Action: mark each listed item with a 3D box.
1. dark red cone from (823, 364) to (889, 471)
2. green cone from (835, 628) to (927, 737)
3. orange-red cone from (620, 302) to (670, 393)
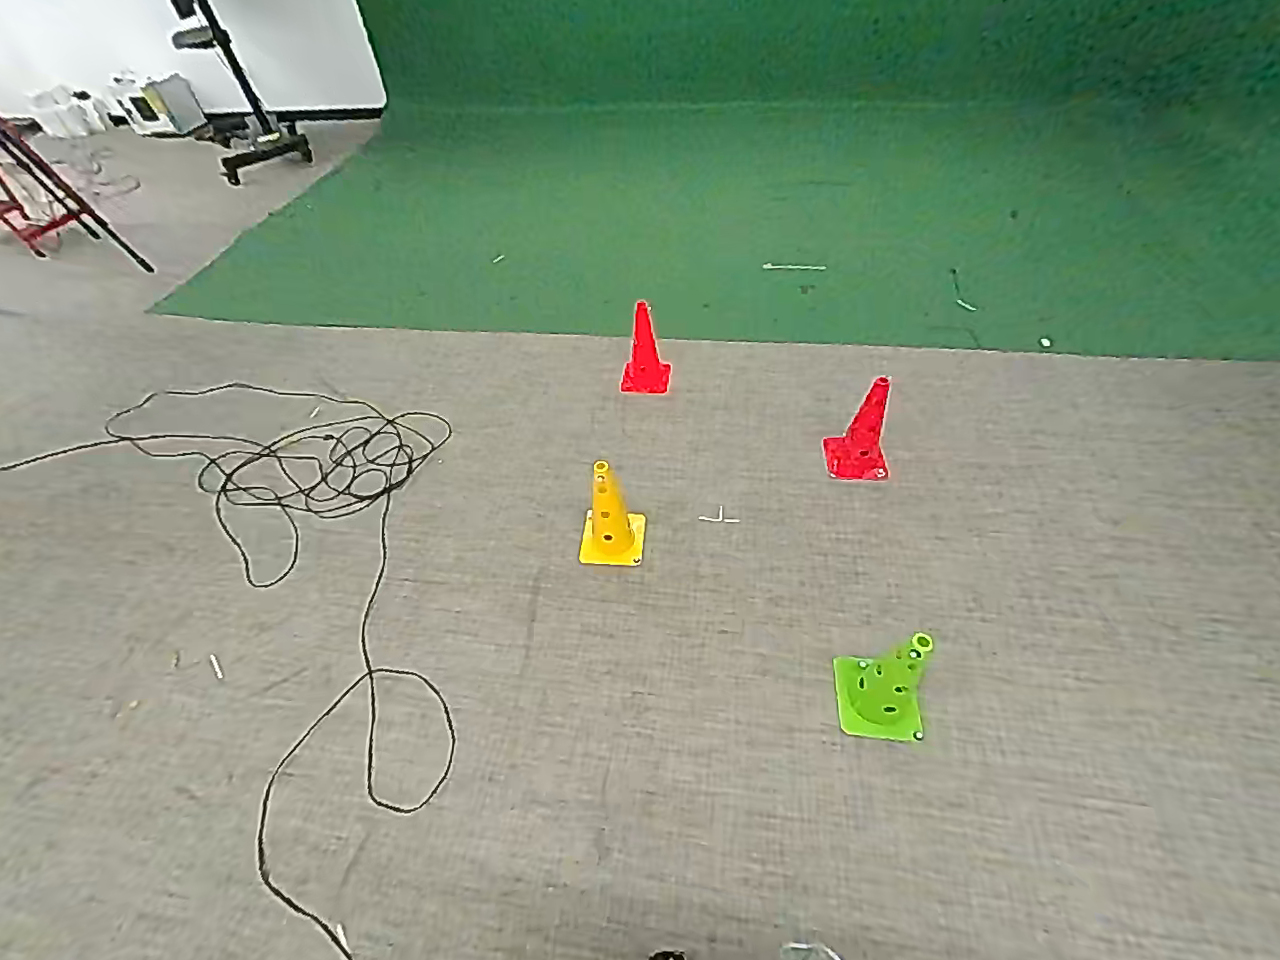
[{"bbox_3d":[0.751,-0.213,1.790,0.202,0.394,0.201,0,48,4],"label":"dark red cone"},{"bbox_3d":[0.605,0.444,1.276,0.202,0.368,0.200,2,49,8],"label":"green cone"},{"bbox_3d":[0.009,-0.544,2.160,0.198,0.360,0.199,3,51,9],"label":"orange-red cone"}]
